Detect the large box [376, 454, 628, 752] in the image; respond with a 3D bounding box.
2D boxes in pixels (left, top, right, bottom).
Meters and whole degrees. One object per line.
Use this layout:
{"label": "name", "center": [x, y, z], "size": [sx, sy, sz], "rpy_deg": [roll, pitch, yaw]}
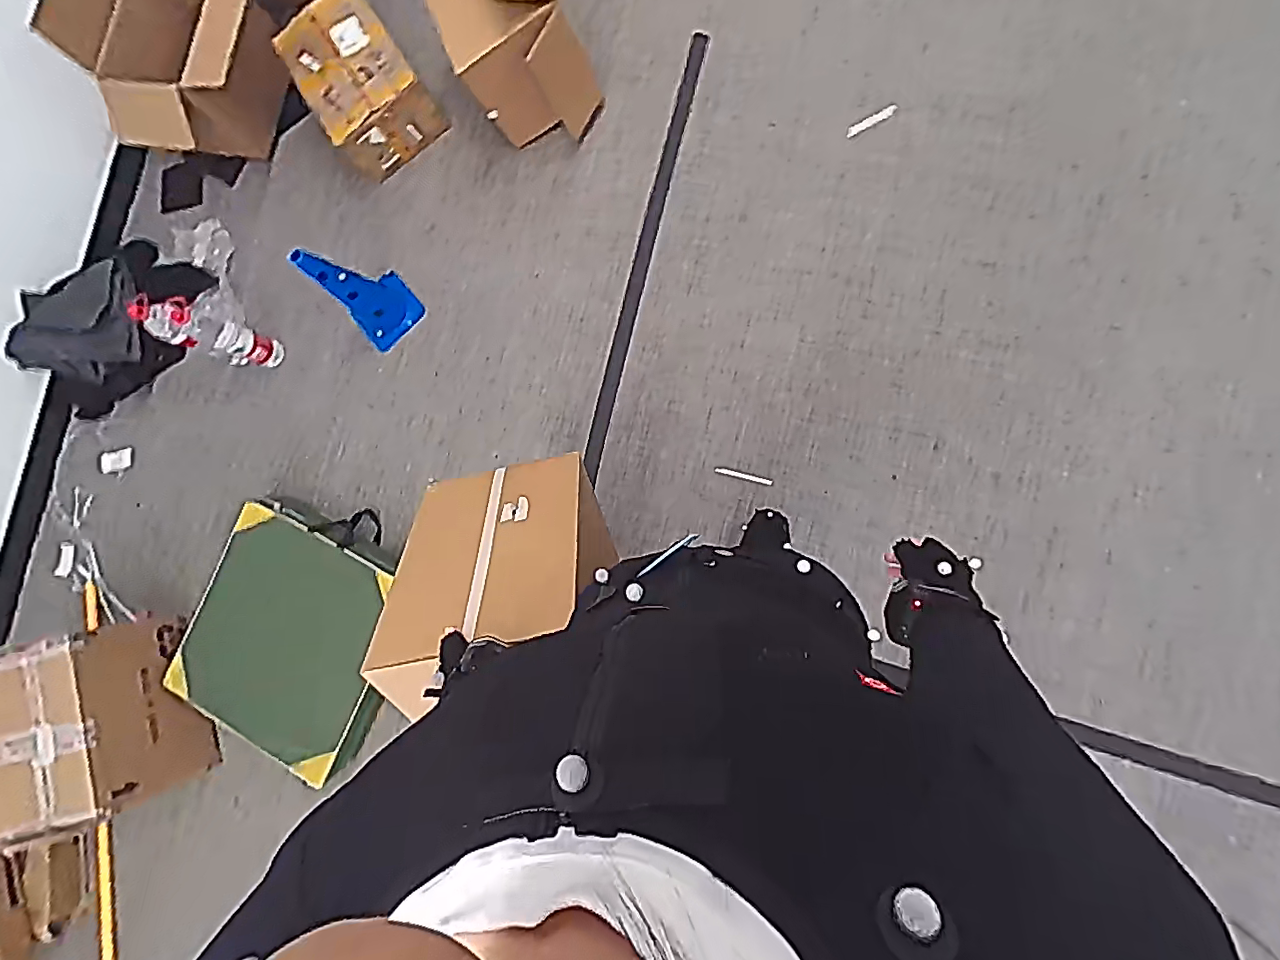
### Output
{"label": "large box", "center": [-0.213, 0.217, 0.998], "size": [0.320, 0.320, 0.408], "rpy_deg": [-11, 40, 4]}
